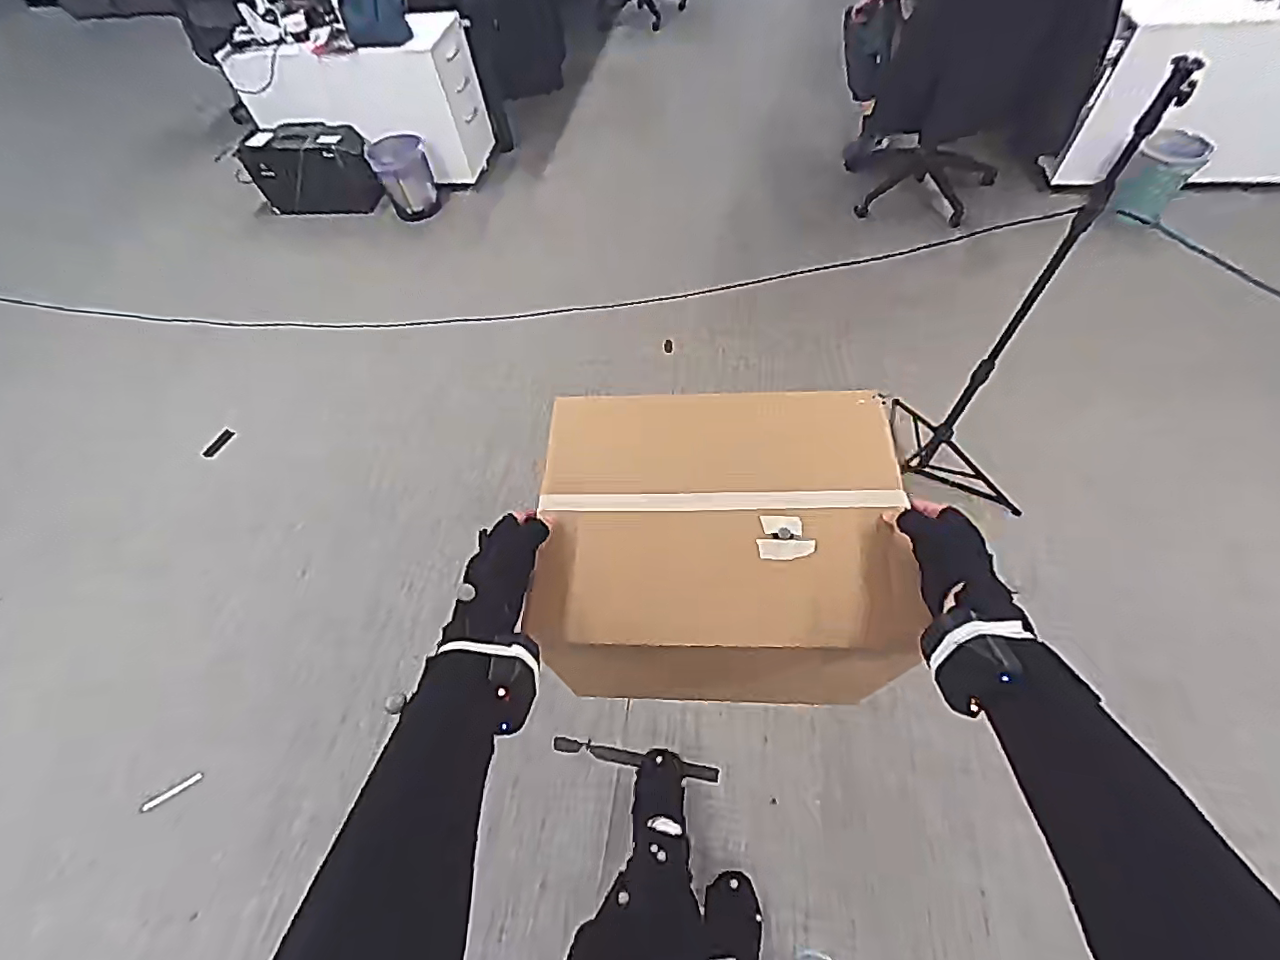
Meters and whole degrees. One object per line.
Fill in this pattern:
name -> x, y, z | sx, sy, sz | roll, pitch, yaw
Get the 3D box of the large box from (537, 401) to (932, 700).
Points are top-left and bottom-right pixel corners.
large box -> 0.103, 0.112, 0.744 | 0.408, 0.320, 0.320 | 0, 58, 5
